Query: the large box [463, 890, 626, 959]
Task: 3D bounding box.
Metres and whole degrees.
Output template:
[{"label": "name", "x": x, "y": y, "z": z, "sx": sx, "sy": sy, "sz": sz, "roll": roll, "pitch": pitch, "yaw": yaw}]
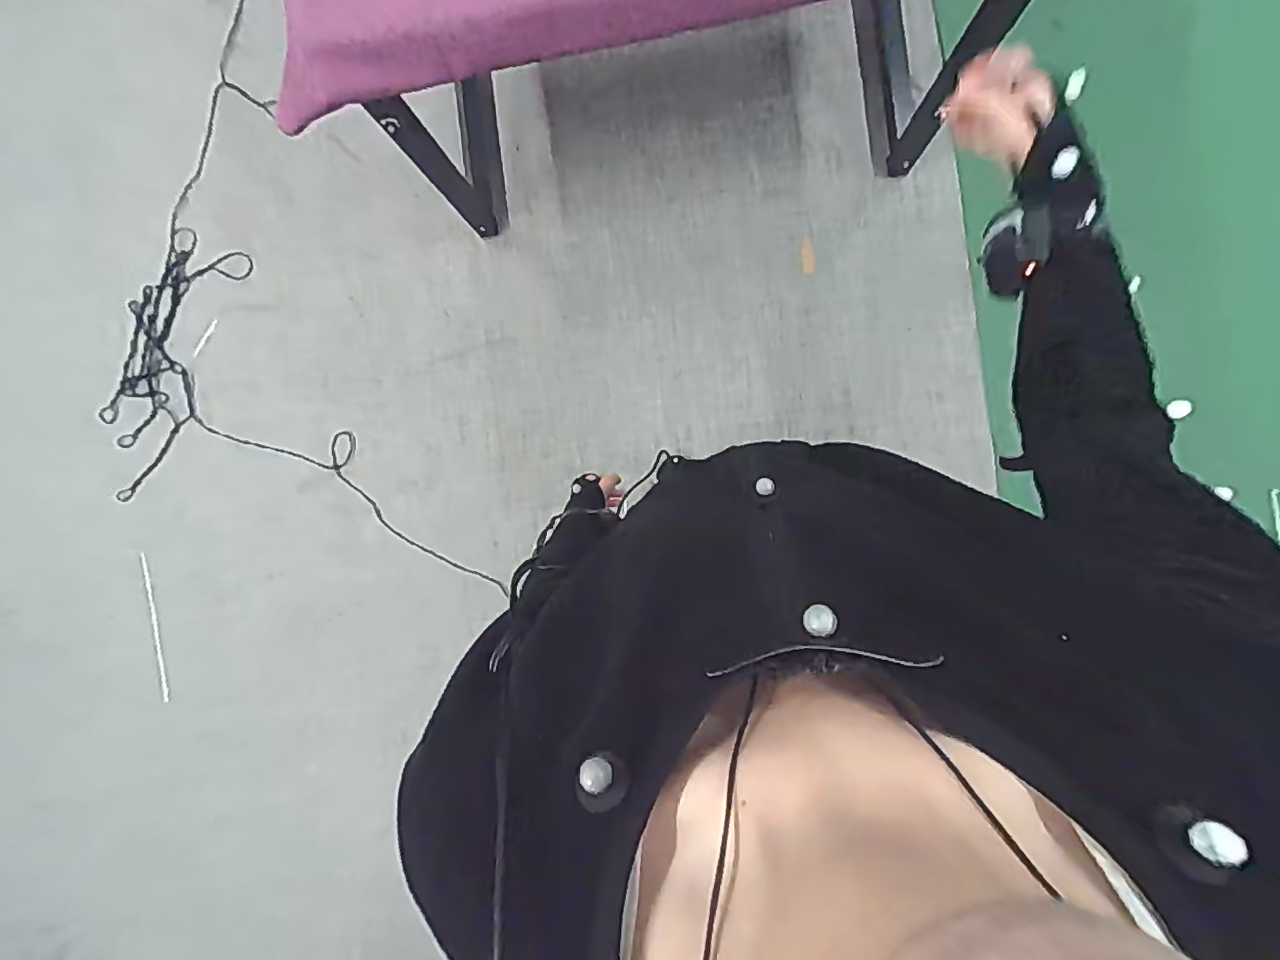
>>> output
[{"label": "large box", "x": -0.281, "y": 1.390, "z": 1.424, "sx": 0.408, "sy": 0.320, "sz": 0.320, "roll": 15, "pitch": 93, "yaw": 5}]
